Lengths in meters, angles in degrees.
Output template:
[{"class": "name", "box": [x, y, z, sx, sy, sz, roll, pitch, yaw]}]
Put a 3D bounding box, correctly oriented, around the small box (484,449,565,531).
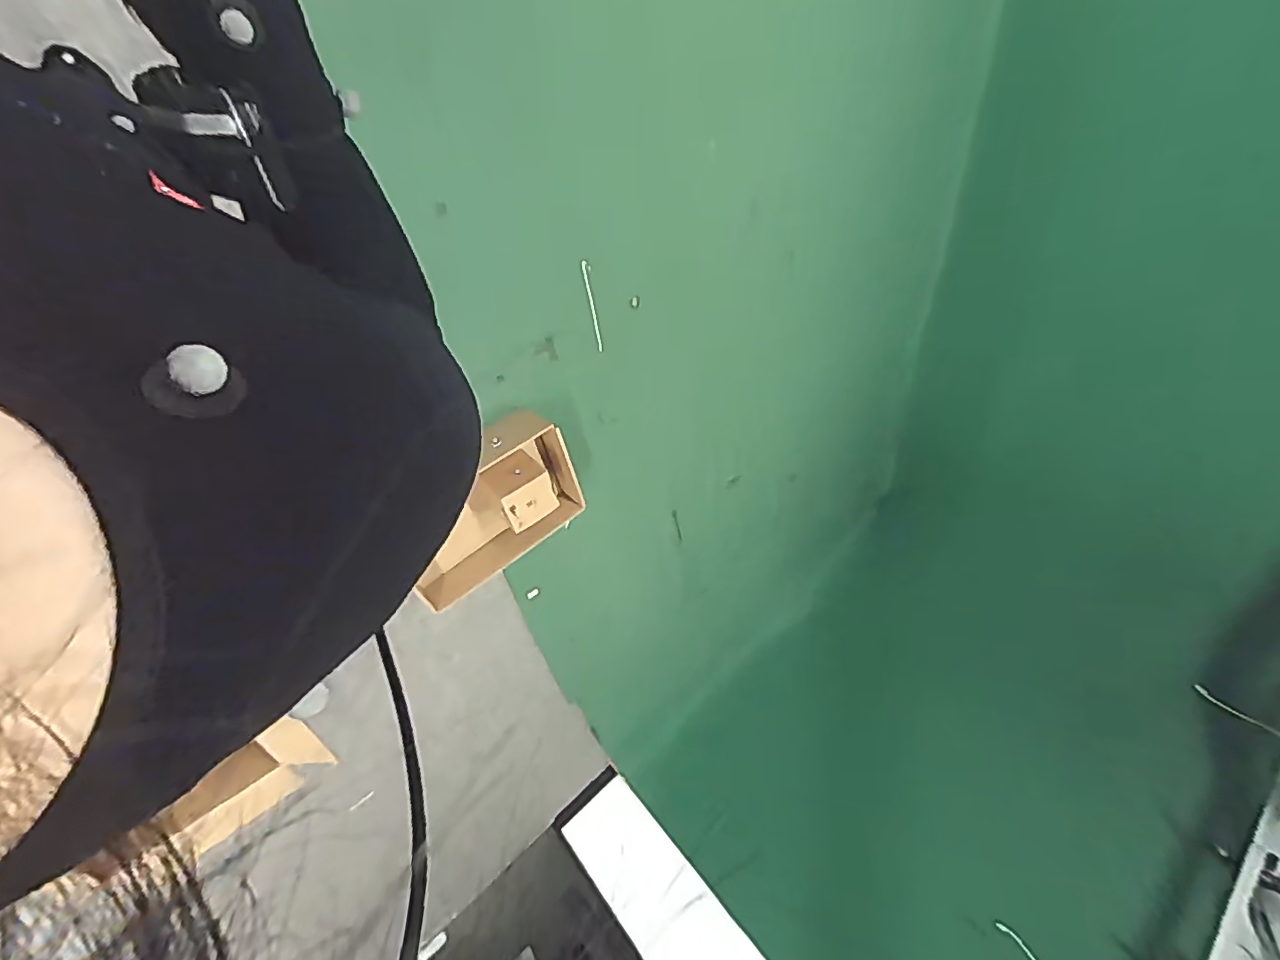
[{"class": "small box", "box": [-0.379, 0.027, 1.775, 0.179, 0.176, 0.168, -35, 138, -22]}]
